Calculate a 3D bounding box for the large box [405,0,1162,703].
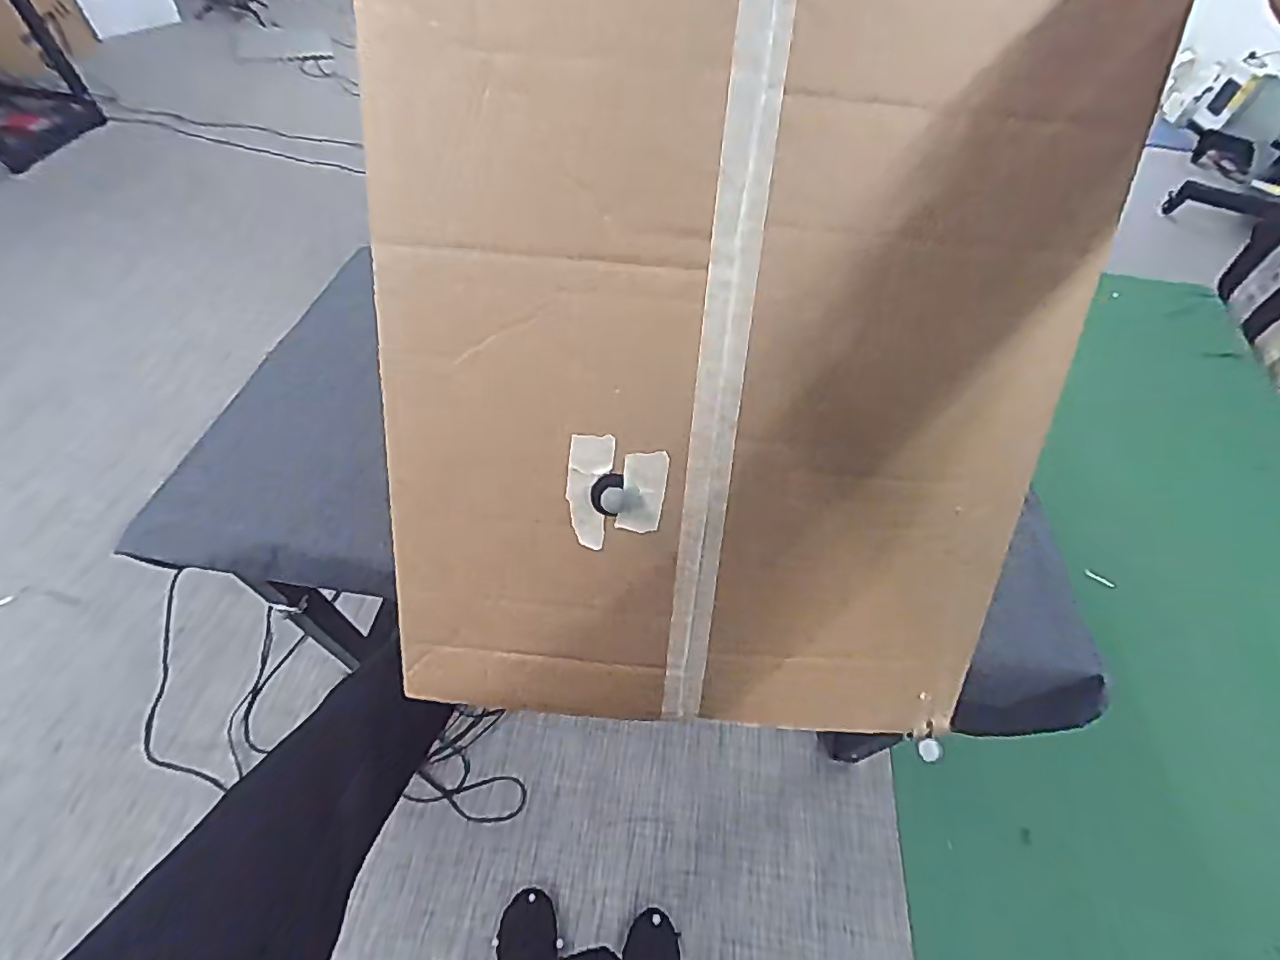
[{"bbox_3d":[0.050,-0.106,0.408,0.320,0.408,0.320,4,20,-1],"label":"large box"}]
